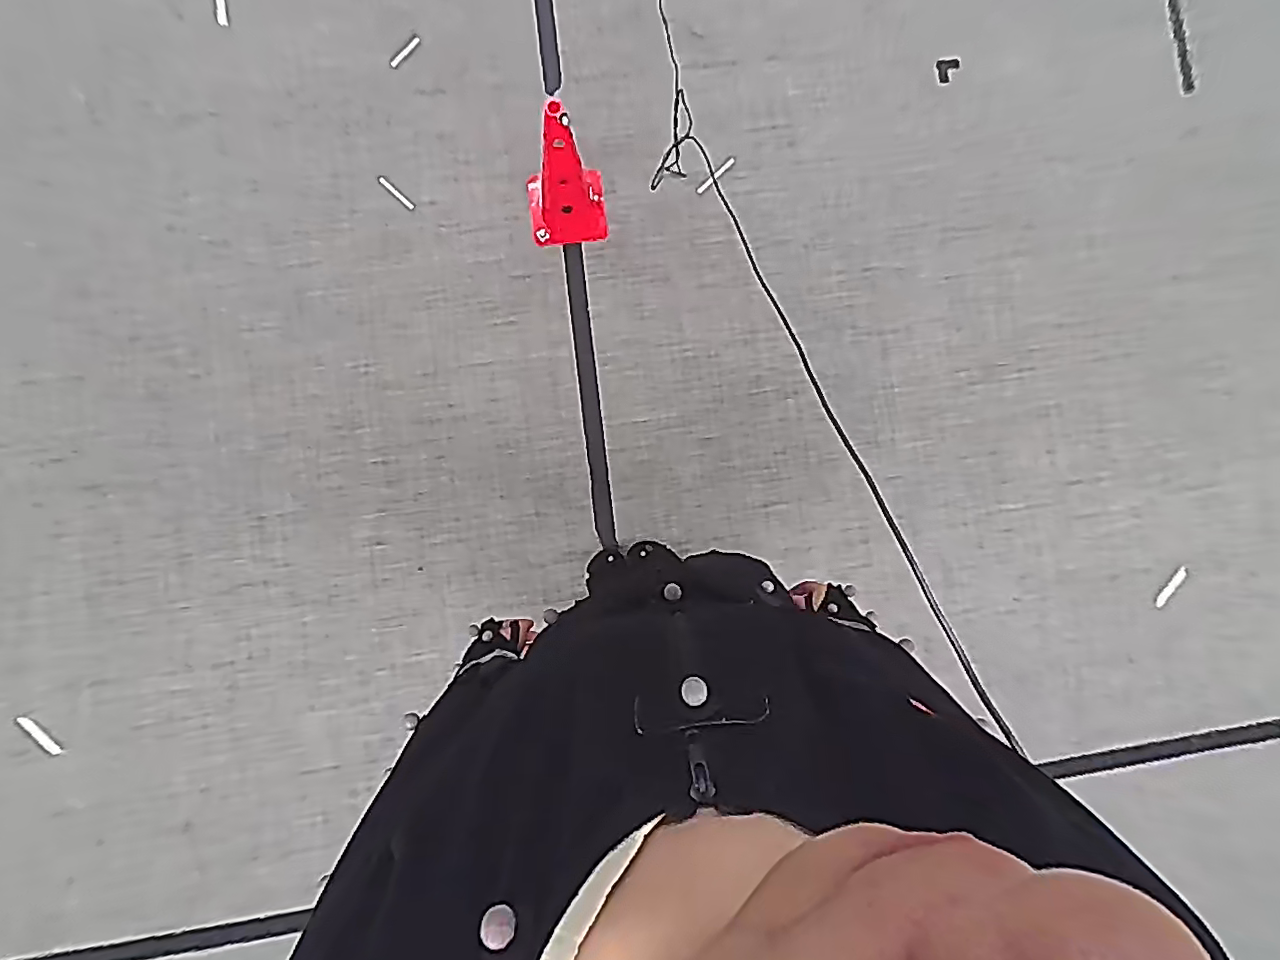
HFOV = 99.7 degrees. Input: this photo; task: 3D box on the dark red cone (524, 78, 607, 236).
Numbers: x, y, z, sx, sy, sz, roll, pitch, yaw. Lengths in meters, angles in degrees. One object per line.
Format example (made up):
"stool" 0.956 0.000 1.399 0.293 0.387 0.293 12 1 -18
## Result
"dark red cone" -0.182 -0.751 1.253 0.201 0.394 0.202 -8 86 -5
